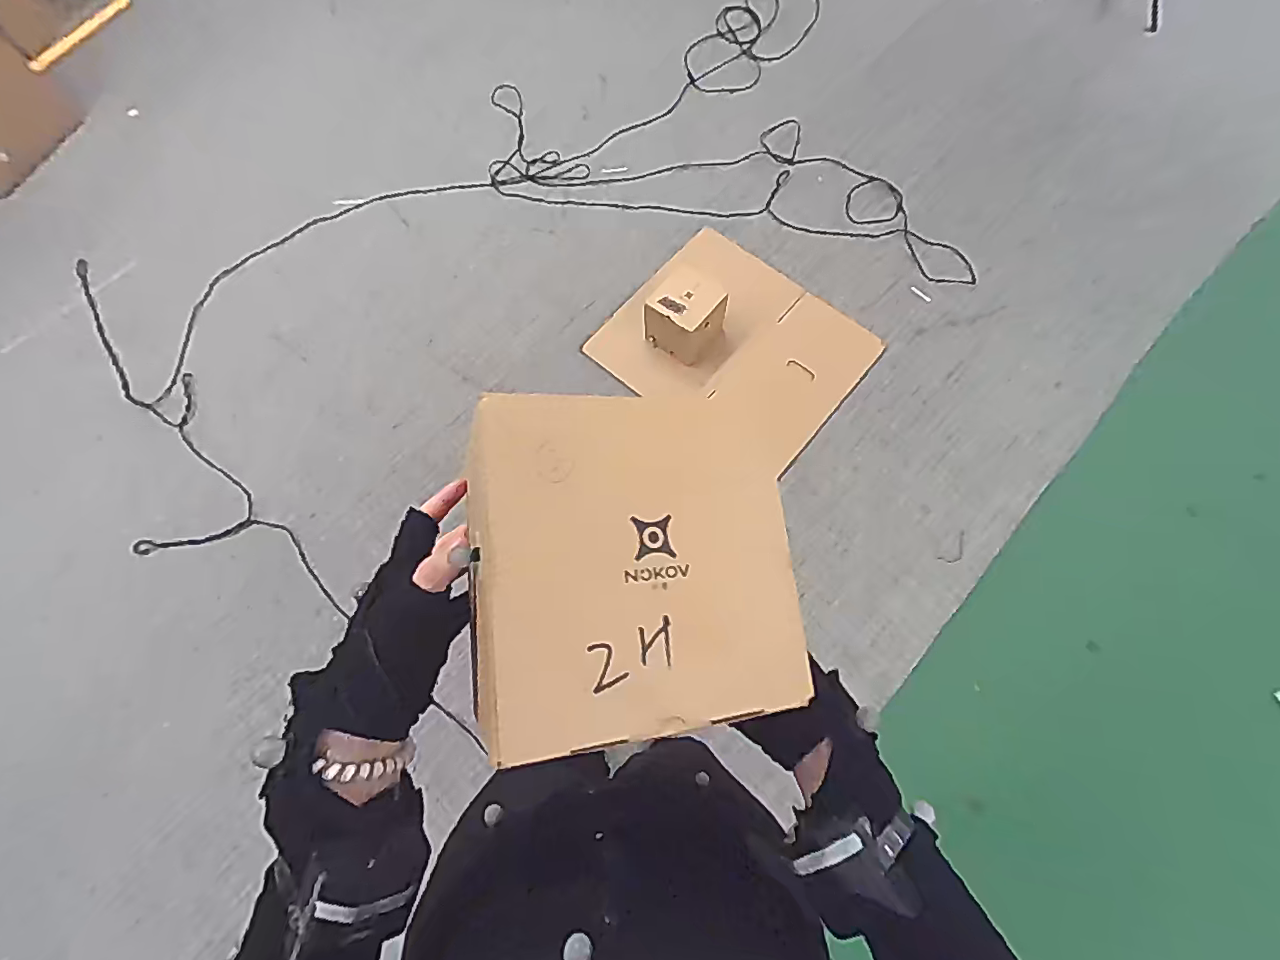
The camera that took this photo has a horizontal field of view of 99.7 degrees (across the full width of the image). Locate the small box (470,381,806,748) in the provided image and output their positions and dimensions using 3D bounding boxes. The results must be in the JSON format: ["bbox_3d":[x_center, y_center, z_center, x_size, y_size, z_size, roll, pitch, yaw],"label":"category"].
[{"bbox_3d":[-0.020,0.052,0.355,0.168,0.176,0.179,-1,78,-21],"label":"small box"}]

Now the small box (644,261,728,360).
[{"bbox_3d":[0.130,-0.478,1.549,0.168,0.176,0.179,37,75,13],"label":"small box"}]
